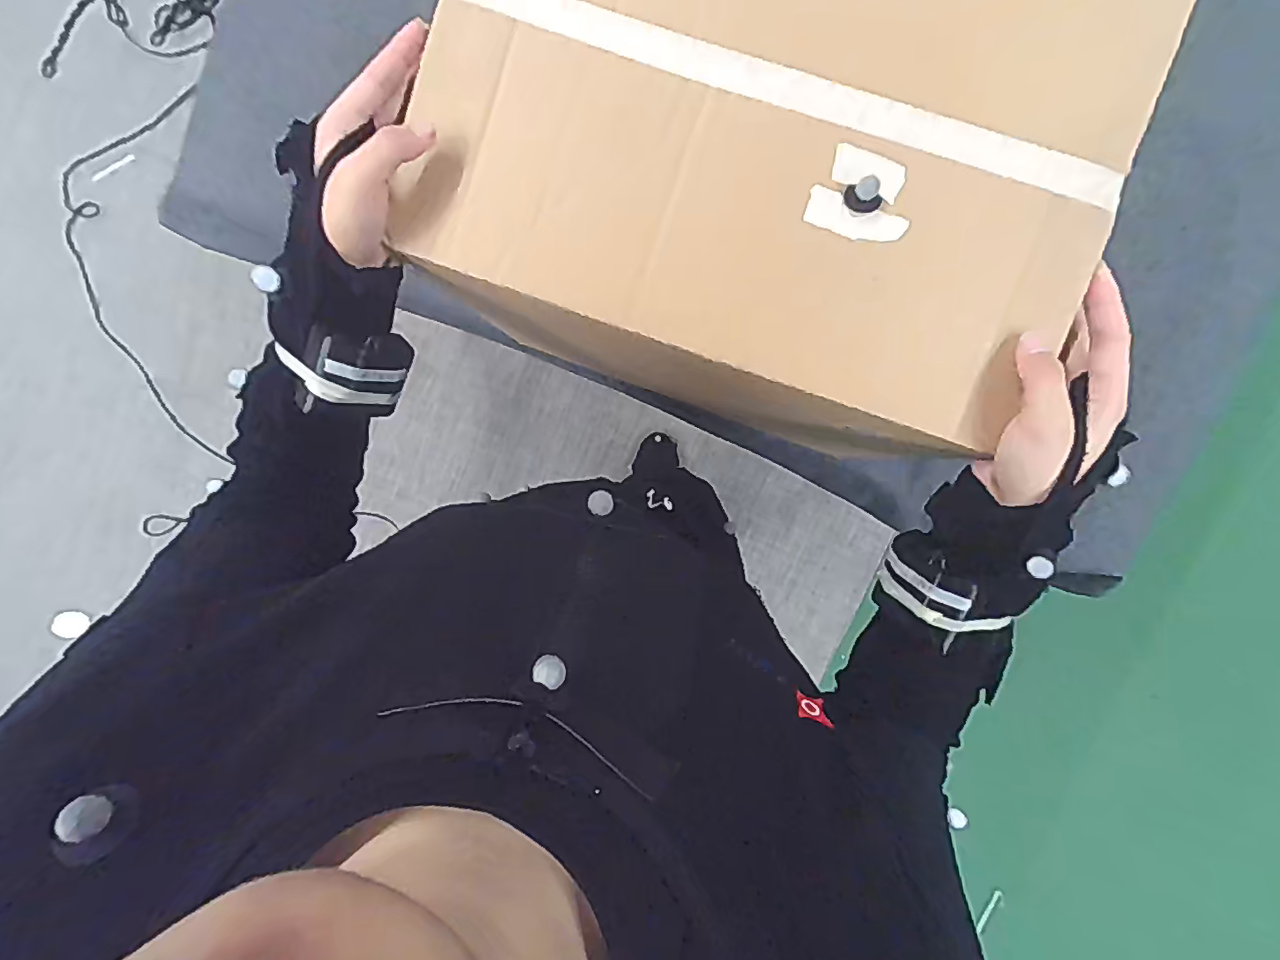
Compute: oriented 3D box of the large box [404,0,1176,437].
[{"bbox_3d":[0.090,-0.245,0.469,0.408,0.320,0.320,19,95,0],"label":"large box"}]
